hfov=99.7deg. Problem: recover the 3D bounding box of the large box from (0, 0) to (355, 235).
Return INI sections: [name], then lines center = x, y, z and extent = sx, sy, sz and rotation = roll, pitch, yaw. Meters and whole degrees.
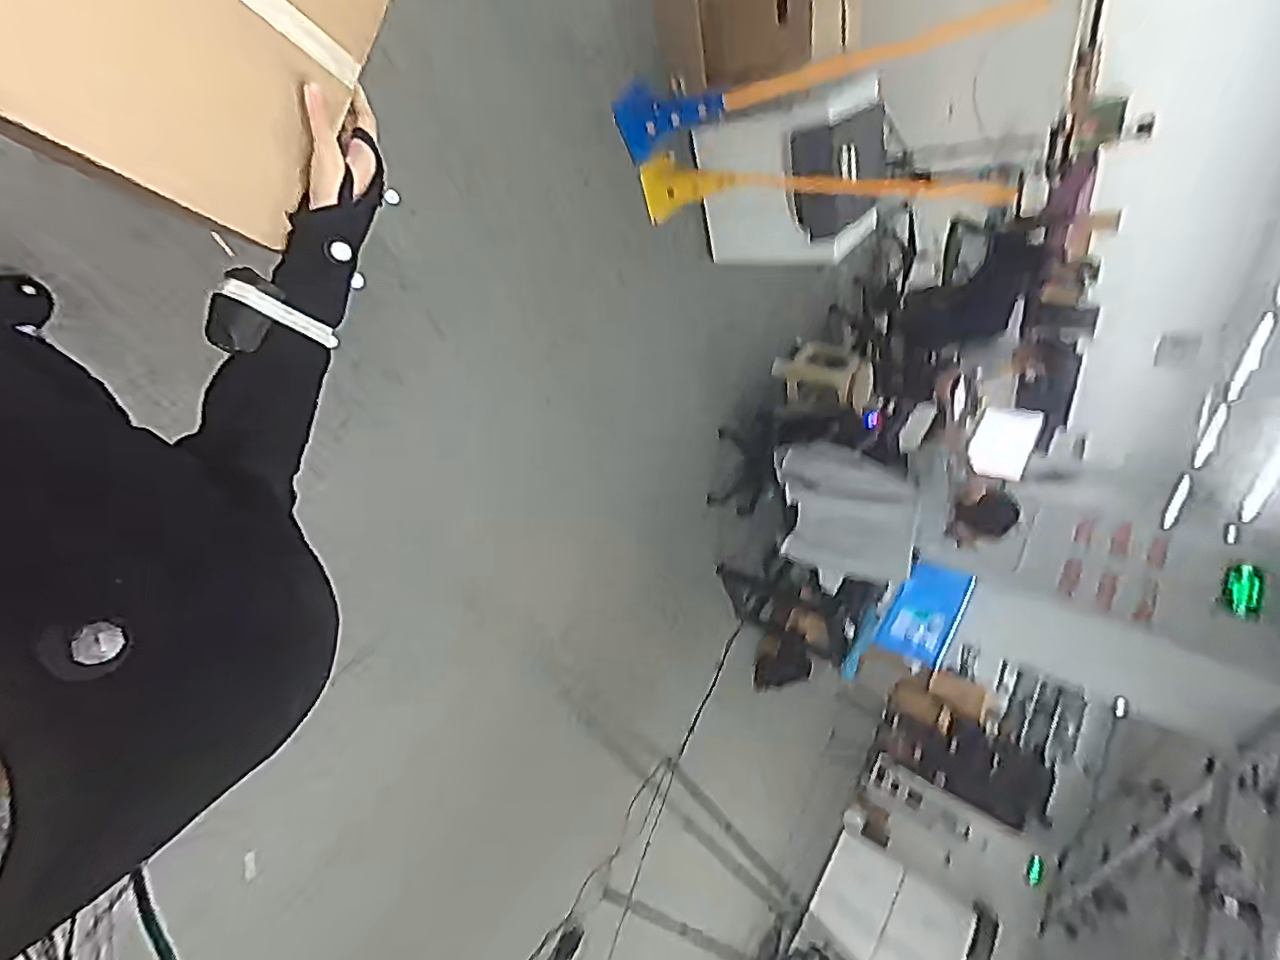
[large box]
center = -0.476, -0.433, 0.380
extent = 0.408, 0.320, 0.320
rotation = 17, 97, -54
